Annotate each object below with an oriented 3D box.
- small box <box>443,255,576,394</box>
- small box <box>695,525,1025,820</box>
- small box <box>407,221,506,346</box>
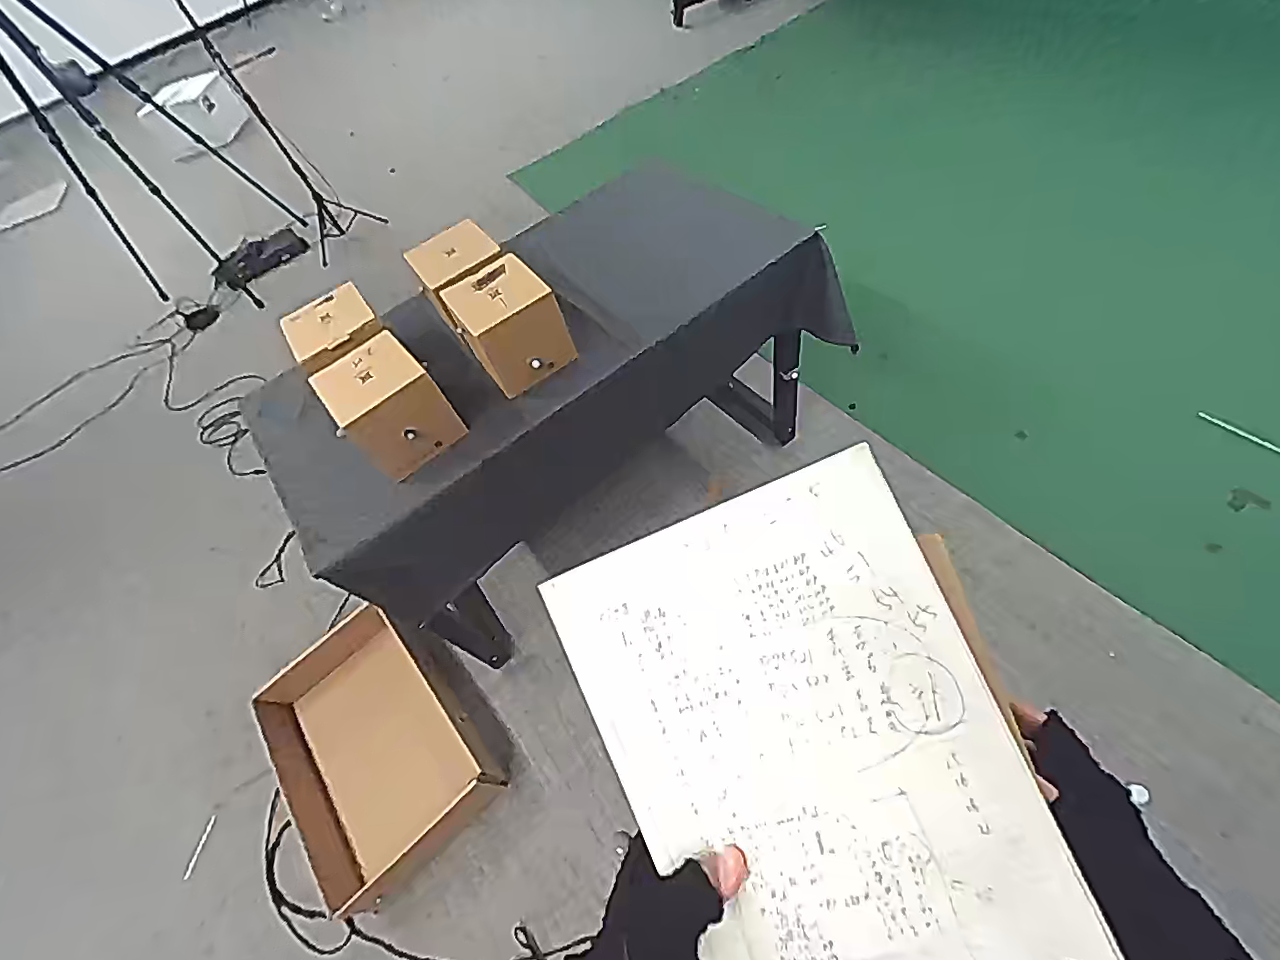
[{"bbox_3d":[-0.253,-0.302,1.068,0.168,0.176,0.179,-35,56,-10],"label":"small box"},{"bbox_3d":[0.145,0.150,0.430,0.179,0.176,0.168,-11,65,4],"label":"small box"},{"bbox_3d":[-0.371,-0.424,1.182,0.168,0.176,0.179,-35,56,-10],"label":"small box"}]
